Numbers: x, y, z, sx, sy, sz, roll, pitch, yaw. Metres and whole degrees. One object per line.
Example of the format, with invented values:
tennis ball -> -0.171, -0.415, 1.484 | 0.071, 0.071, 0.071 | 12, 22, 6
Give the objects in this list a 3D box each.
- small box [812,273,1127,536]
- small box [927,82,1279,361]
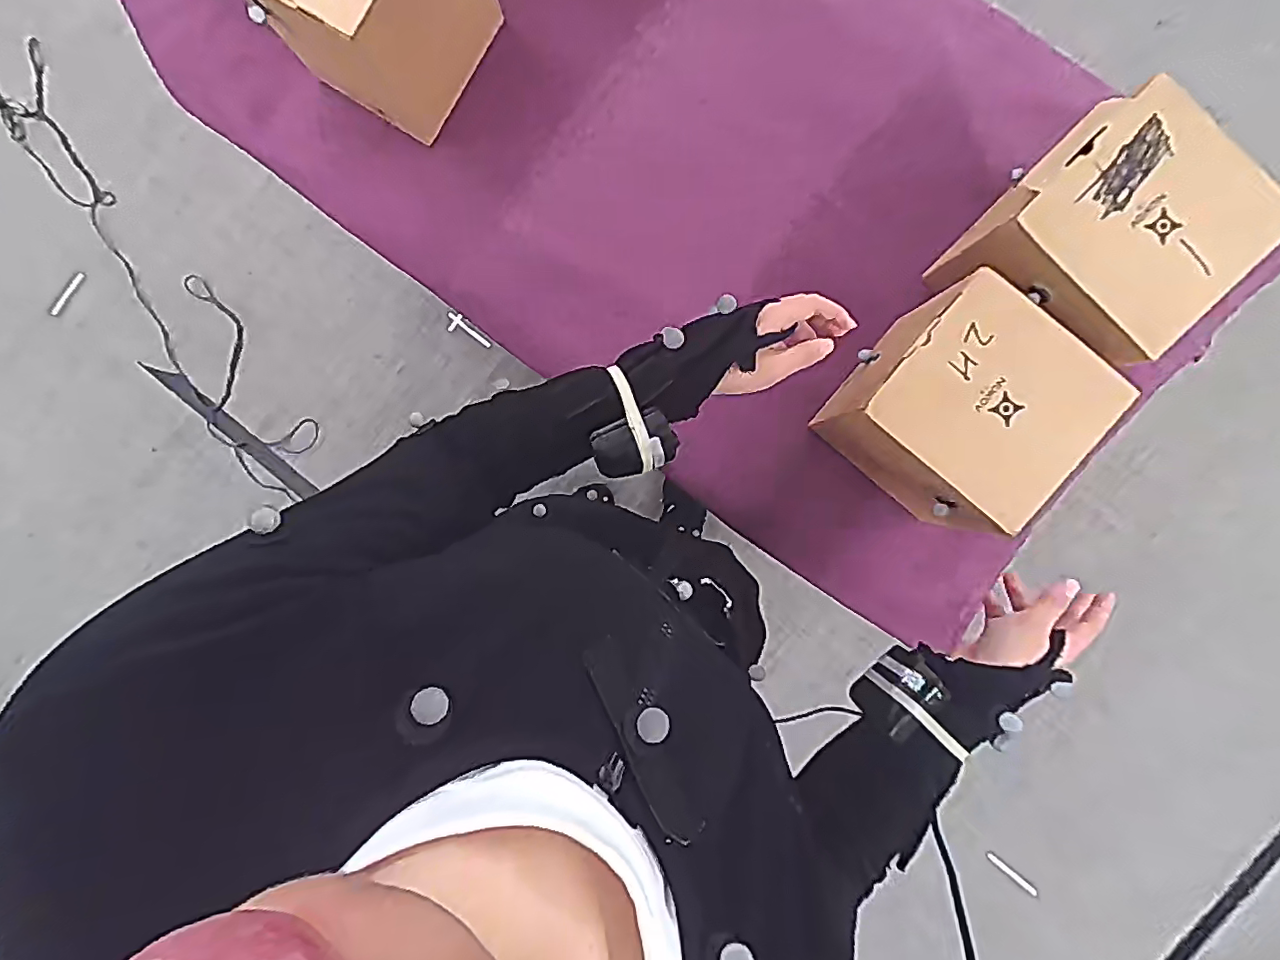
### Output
small box -> 0.310, -0.069, 0.553 | 0.179, 0.176, 0.168 | 41, 92, 1
small box -> 0.435, -0.225, 0.541 | 0.179, 0.176, 0.168 | 45, 95, -1
